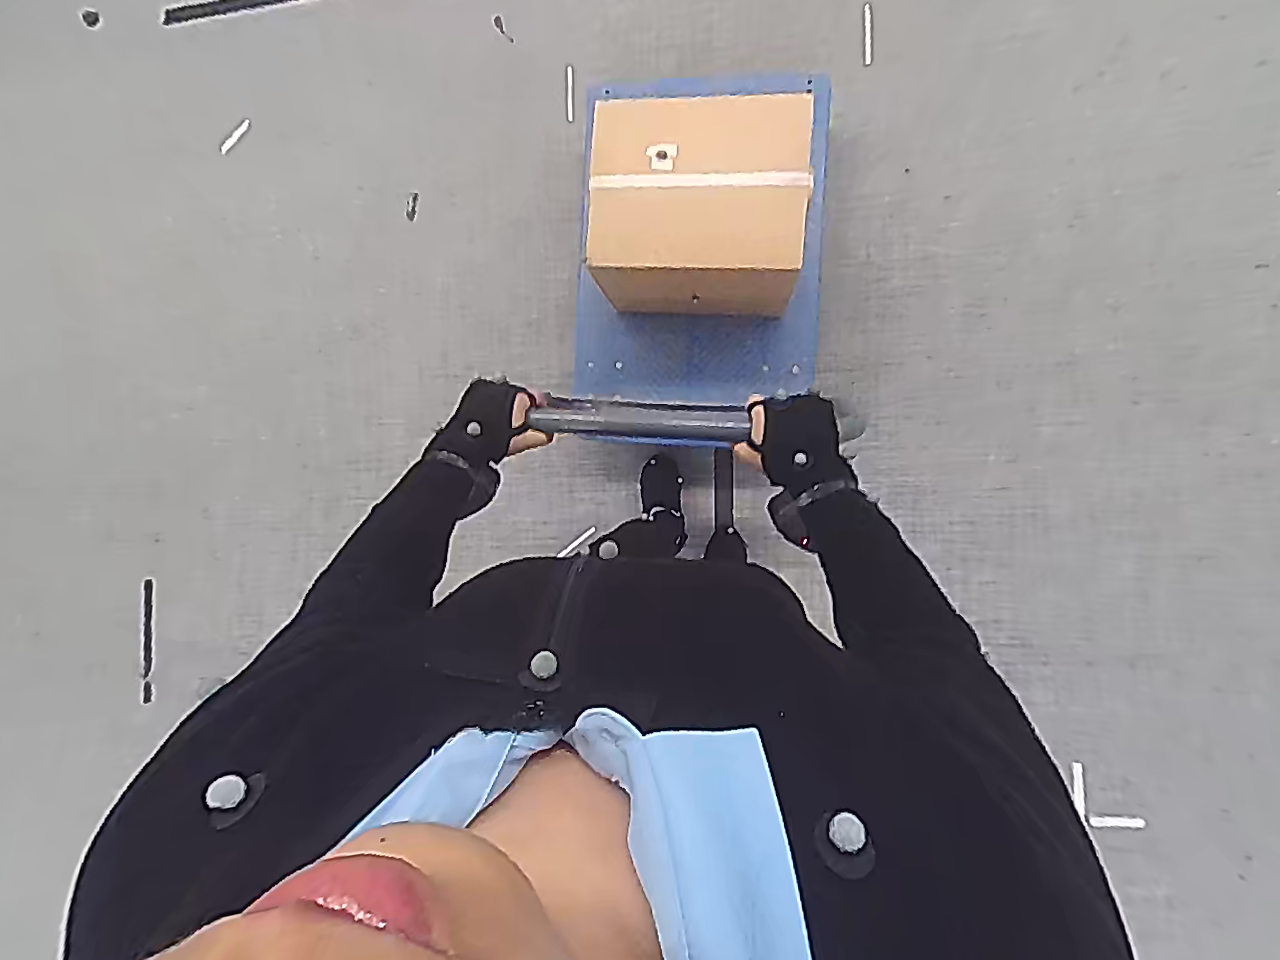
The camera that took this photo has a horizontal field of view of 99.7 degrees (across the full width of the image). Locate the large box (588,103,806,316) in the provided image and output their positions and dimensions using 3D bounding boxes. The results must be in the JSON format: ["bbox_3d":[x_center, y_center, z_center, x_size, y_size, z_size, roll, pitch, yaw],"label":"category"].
[{"bbox_3d":[0.126,-0.546,1.162,0.408,0.320,0.320,4,90,9],"label":"large box"}]
